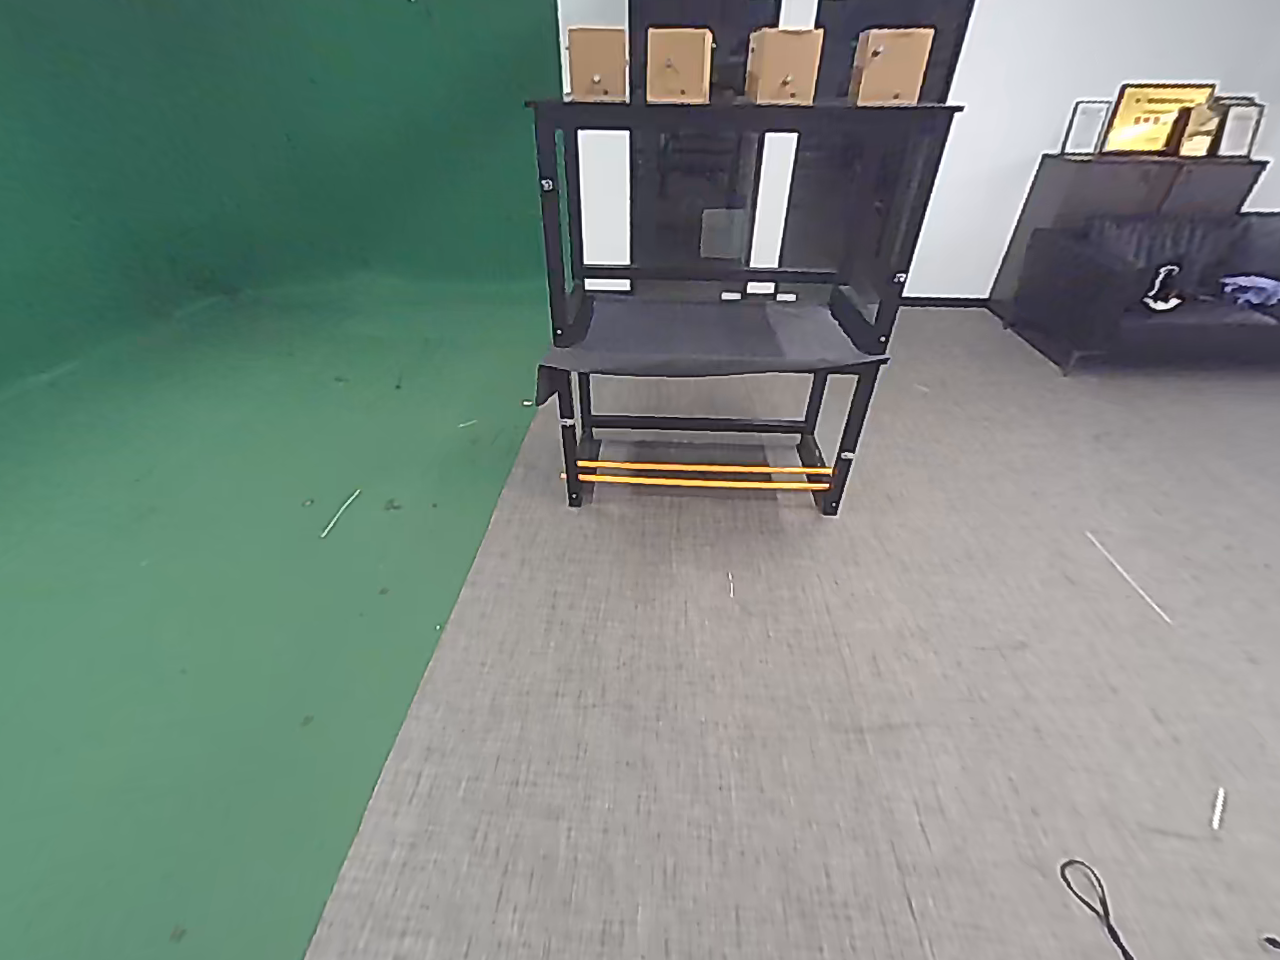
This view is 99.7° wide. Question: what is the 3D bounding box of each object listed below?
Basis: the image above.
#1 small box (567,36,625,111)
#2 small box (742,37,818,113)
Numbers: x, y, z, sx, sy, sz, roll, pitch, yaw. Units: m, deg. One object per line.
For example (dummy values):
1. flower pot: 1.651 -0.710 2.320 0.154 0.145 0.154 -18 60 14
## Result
1. small box: -0.131 -1.224 1.634 0.168 0.176 0.179 -2 37 -4
2. small box: 0.404 -1.189 1.593 0.168 0.176 0.179 -2 36 -2
